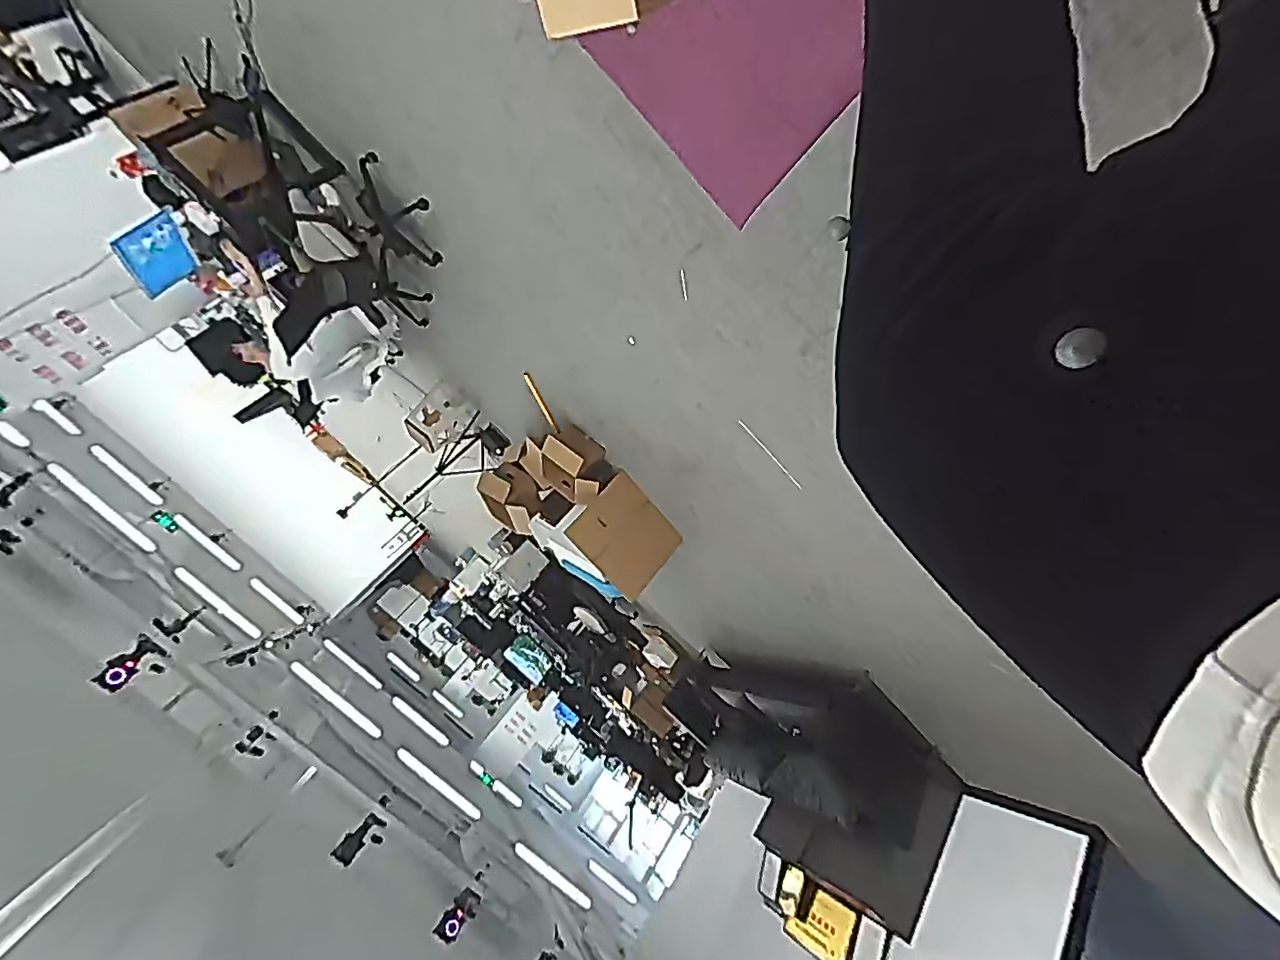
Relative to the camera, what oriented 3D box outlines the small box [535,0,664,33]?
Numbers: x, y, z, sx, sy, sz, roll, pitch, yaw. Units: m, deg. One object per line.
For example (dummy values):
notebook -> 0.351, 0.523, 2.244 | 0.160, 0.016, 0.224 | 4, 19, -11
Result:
small box -> -0.042, -0.725, 0.710 | 0.179, 0.176, 0.168 | 22, 148, 33
